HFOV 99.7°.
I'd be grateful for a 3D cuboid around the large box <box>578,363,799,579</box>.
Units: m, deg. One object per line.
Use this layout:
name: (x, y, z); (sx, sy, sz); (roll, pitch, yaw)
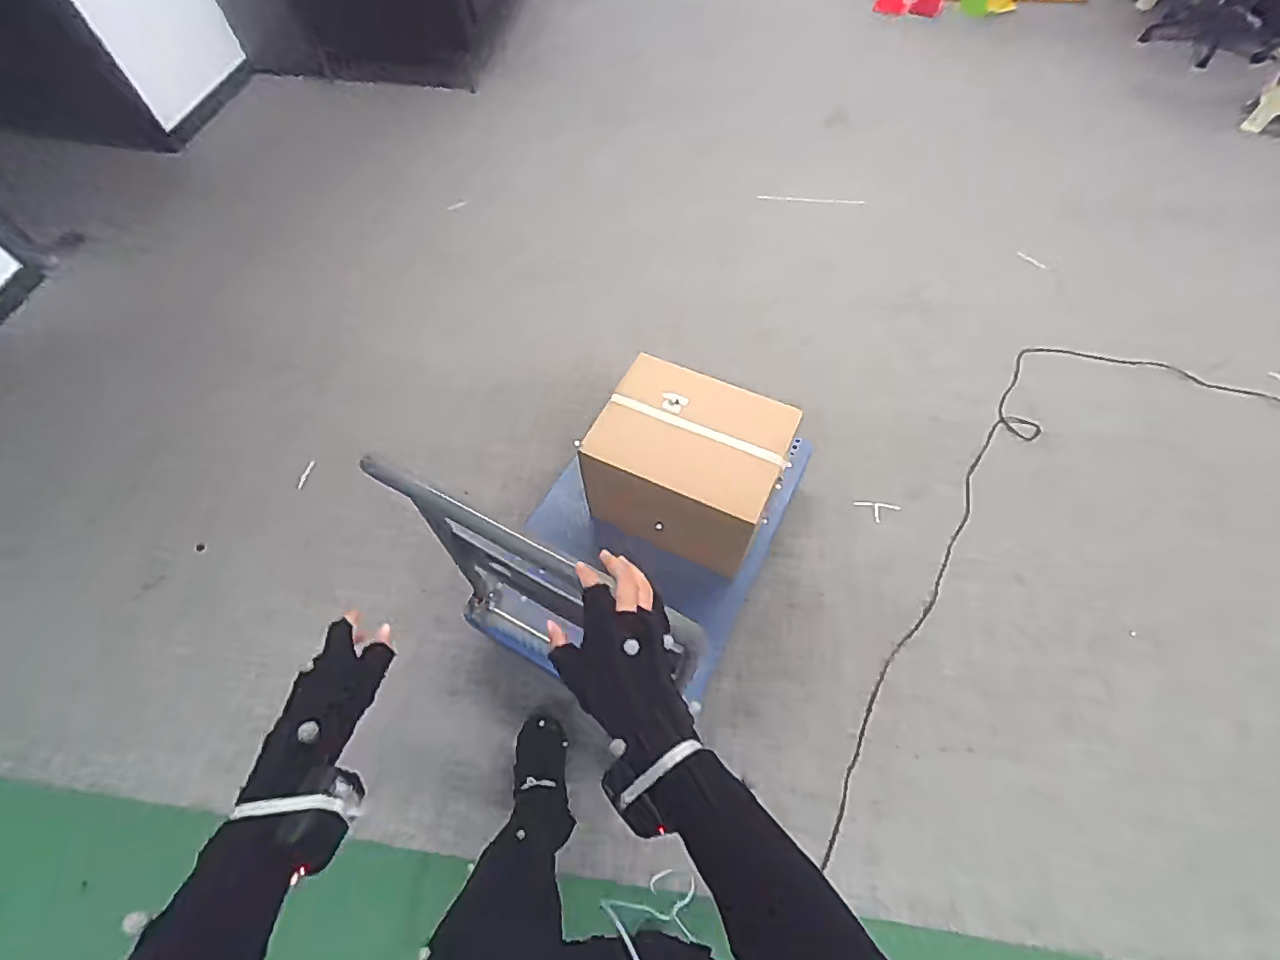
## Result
large box: (0.116, -0.016, 1.297); (0.408, 0.320, 0.320); (22, 61, 15)
